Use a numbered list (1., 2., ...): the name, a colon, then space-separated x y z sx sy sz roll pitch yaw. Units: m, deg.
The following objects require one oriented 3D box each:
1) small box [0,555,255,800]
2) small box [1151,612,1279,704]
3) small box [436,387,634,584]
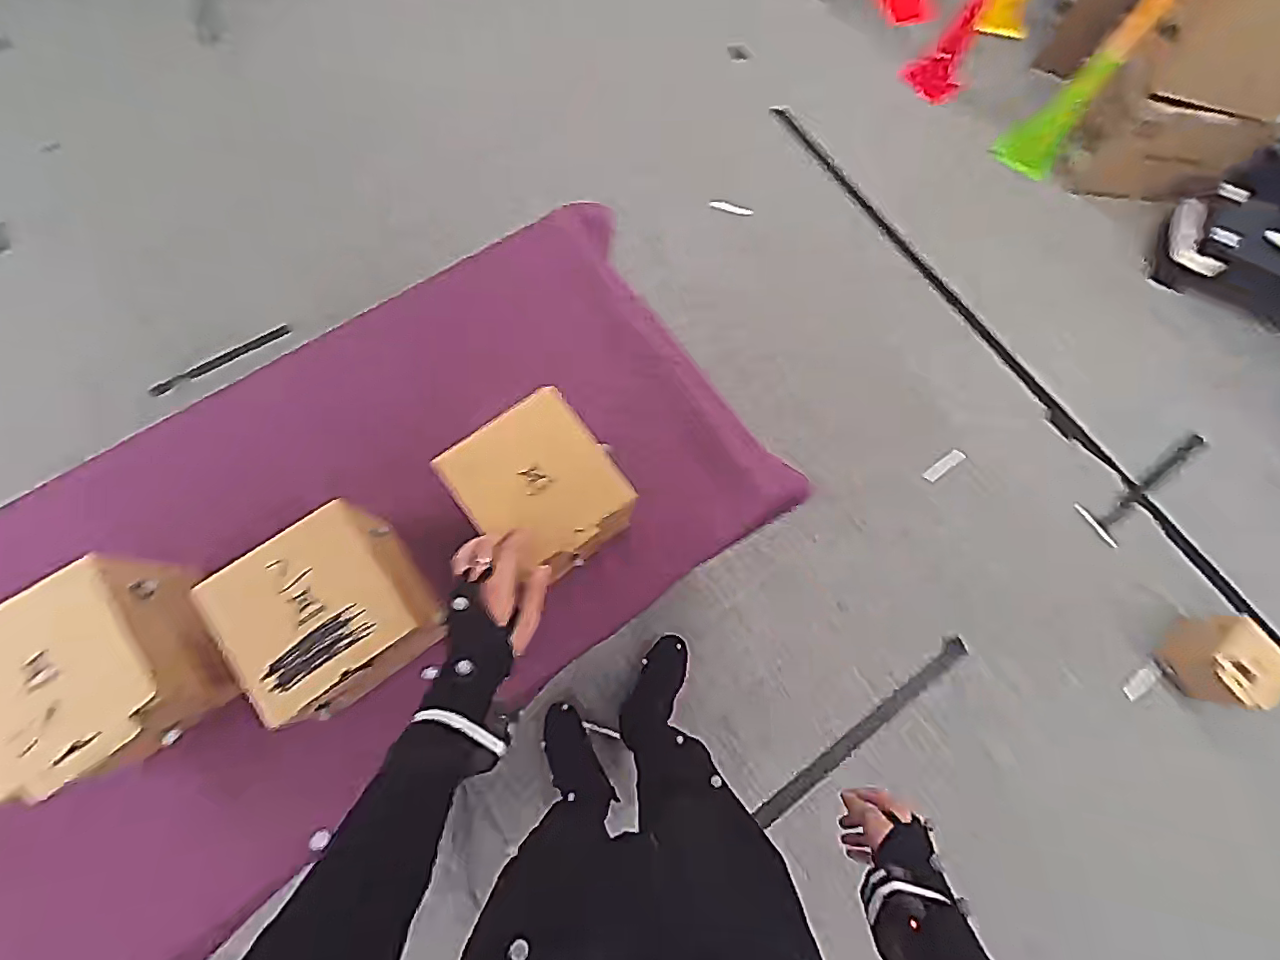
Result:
1. small box: -0.591 0.210 0.607 0.168 0.176 0.179 -35 81 -12
2. small box: 1.582 0.486 1.491 0.179 0.176 0.168 -36 81 -14
3. small box: -0.129 0.018 0.702 0.168 0.176 0.179 -37 81 -13
